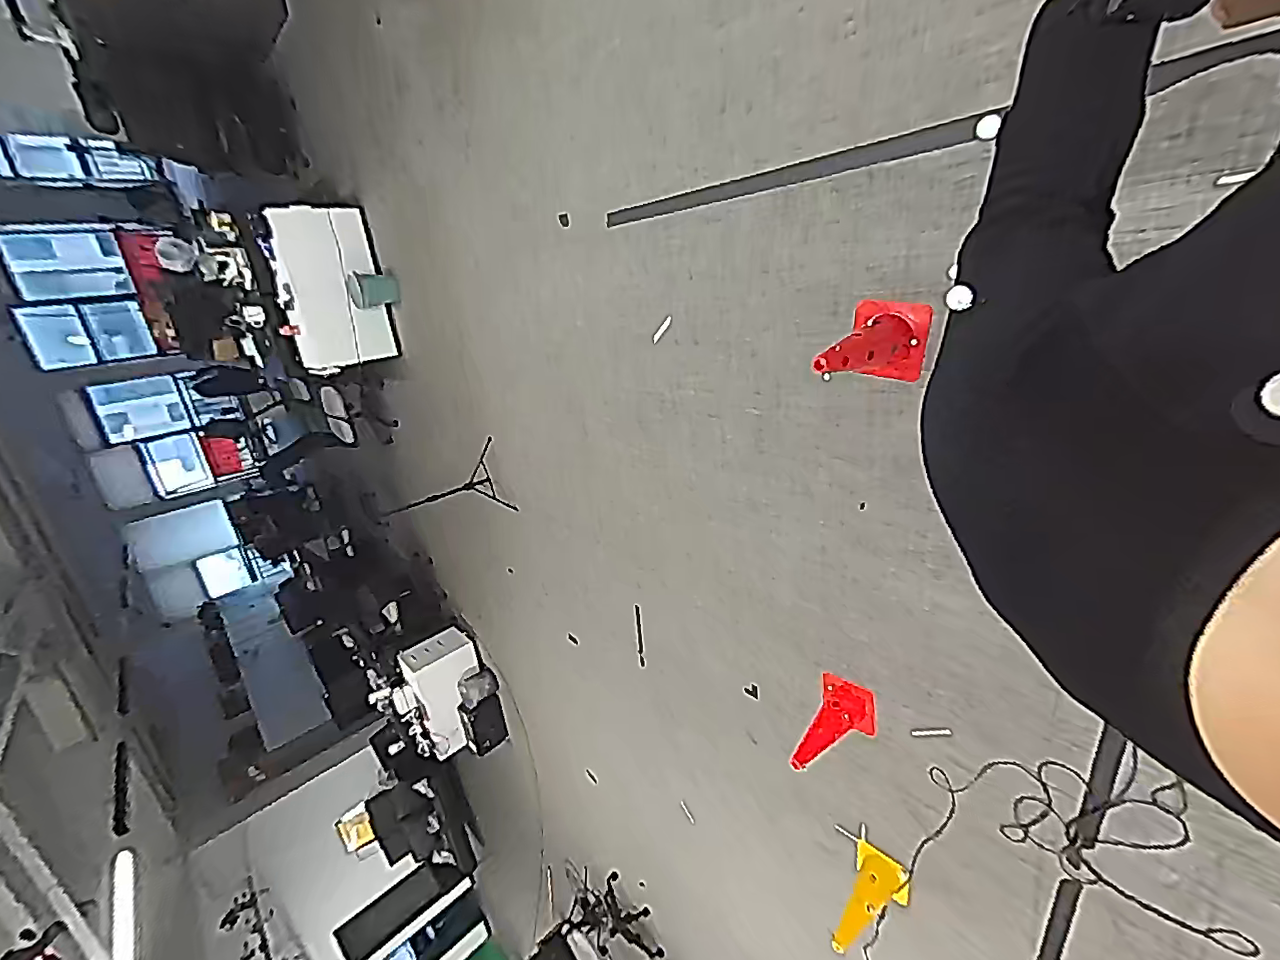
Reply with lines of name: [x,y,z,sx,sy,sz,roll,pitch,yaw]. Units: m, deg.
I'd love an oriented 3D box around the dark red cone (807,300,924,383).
dark red cone: [0.525,-0.317,1.334,0.201,0.394,0.202,21,124,41]

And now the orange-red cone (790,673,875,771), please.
orange-red cone: [0.631,0.870,1.855,0.198,0.360,0.199,13,119,47]
